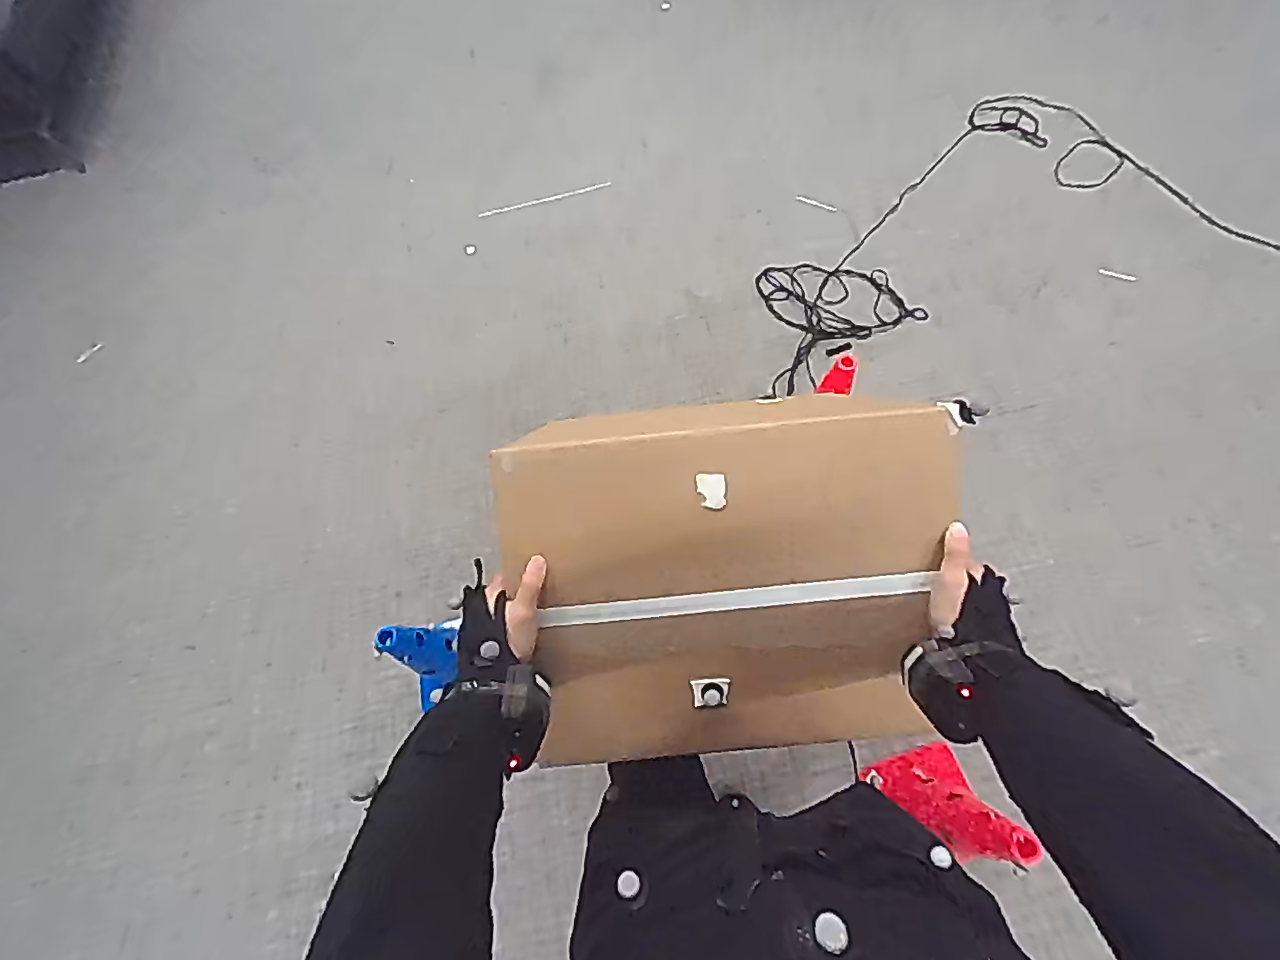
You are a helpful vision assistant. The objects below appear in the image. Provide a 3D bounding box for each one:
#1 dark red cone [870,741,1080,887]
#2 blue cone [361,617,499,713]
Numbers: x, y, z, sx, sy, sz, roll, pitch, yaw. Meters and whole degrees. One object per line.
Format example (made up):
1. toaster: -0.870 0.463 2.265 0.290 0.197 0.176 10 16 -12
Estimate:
1. dark red cone: 0.550 0.561 0.867 0.202 0.394 0.201 -20 68 -4
2. blue cone: -0.440 0.355 1.106 0.192 0.380 0.193 -13 64 0
